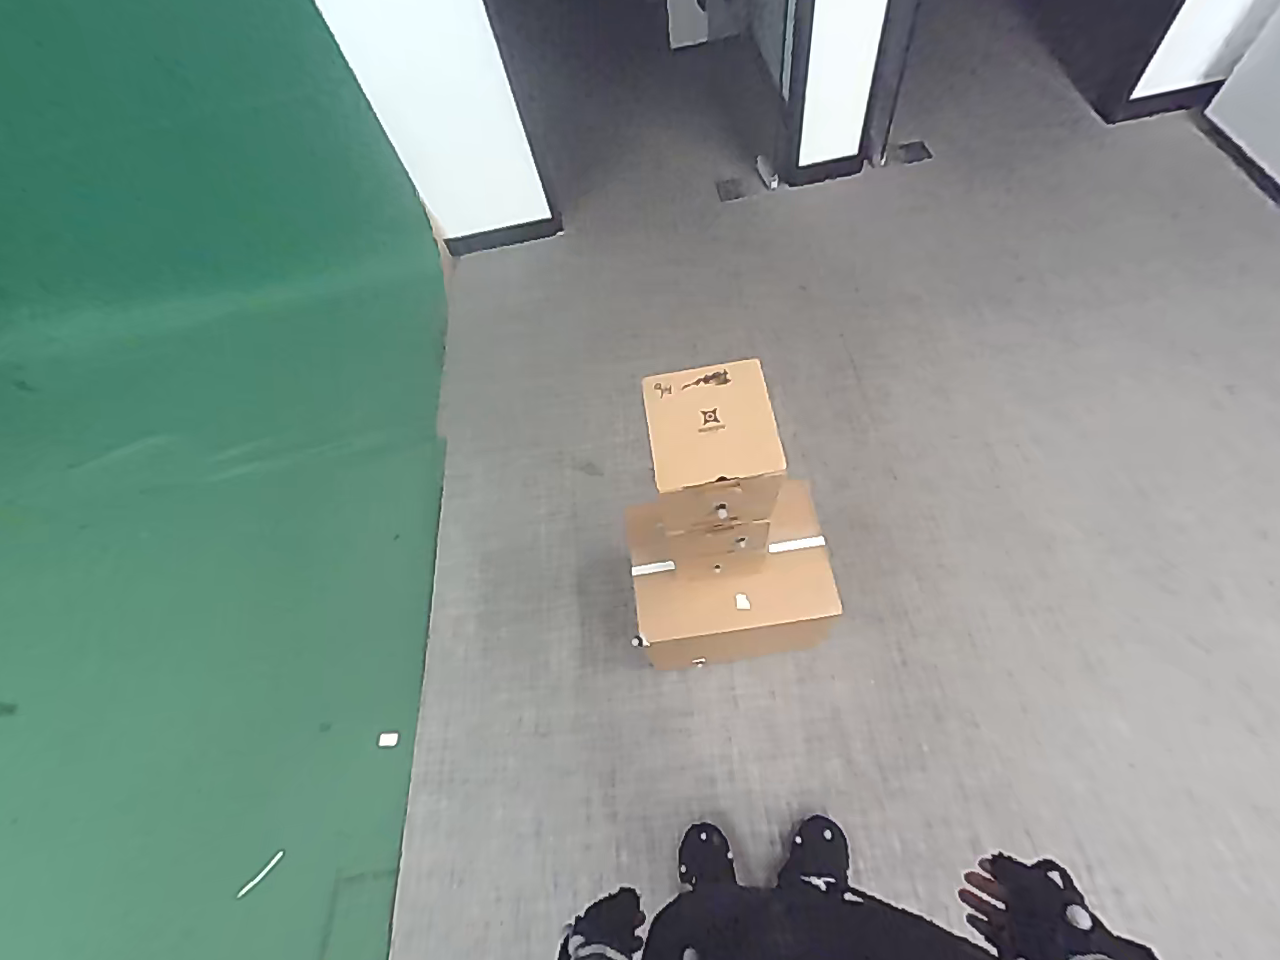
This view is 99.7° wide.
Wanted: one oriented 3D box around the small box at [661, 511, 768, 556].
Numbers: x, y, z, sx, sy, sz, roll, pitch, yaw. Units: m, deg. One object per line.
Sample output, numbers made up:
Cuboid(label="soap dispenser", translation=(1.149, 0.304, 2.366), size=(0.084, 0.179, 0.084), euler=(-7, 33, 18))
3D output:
Cuboid(label="small box", translation=(0.120, 0.026, 0.937), size=(0.168, 0.176, 0.179), euler=(-9, 65, 4))

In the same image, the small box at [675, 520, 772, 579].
Cuboid(label="small box", translation=(0.153, 0.092, 1.081), size=(0.179, 0.176, 0.168), euler=(-9, 67, 4))

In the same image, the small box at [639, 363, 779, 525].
Cuboid(label="small box", translation=(0.099, -0.041, 0.789), size=(0.168, 0.176, 0.179), euler=(-9, 67, 4))
